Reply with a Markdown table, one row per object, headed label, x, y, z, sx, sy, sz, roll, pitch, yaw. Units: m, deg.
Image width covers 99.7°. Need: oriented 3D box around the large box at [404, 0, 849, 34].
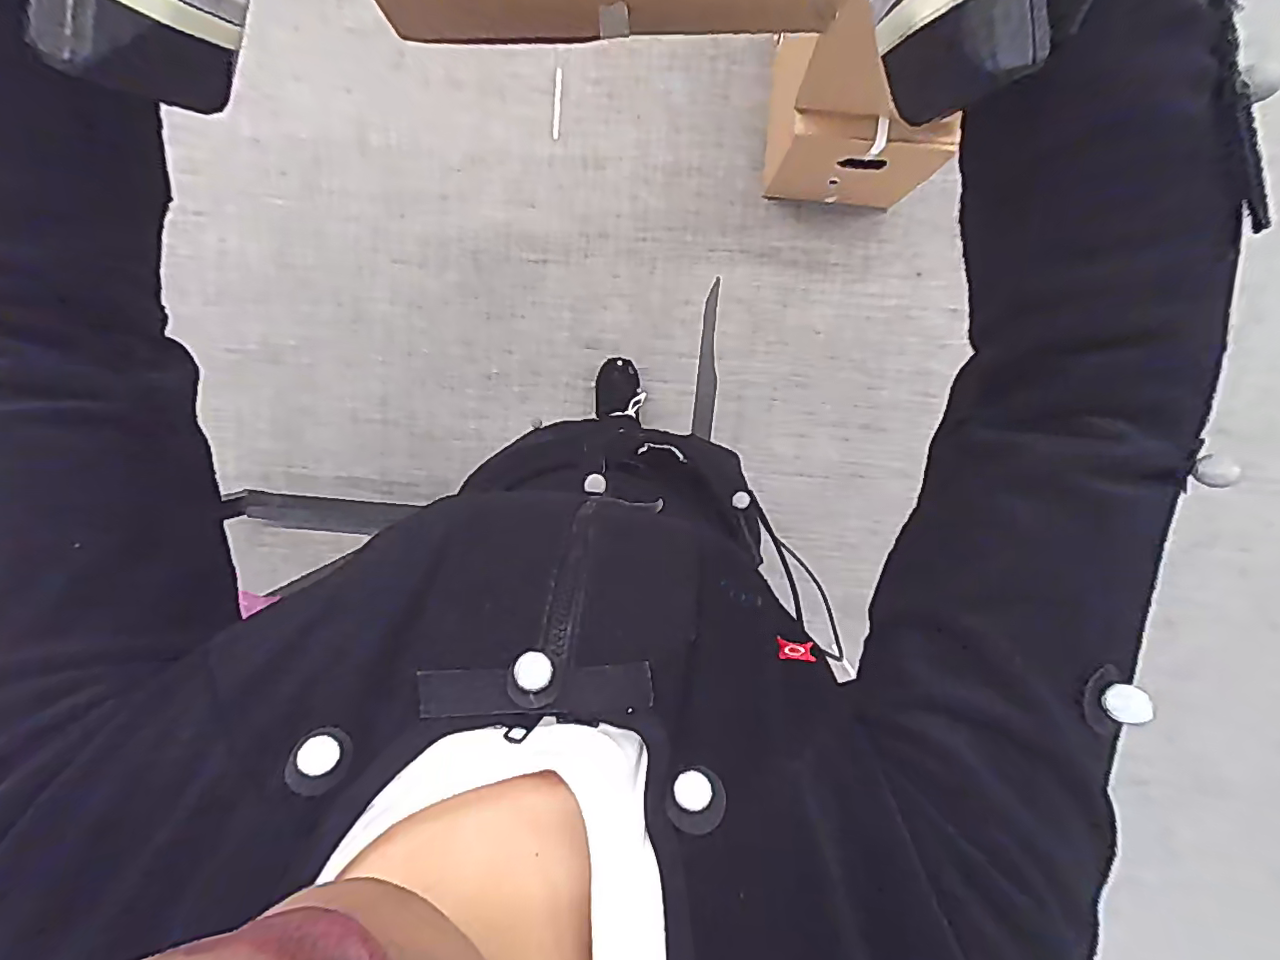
| label | x | y | z | sx | sy | sz | roll | pitch | yaw |
| --- | --- | --- | --- | --- | --- | --- | --- | --- | --- |
| large box | -0.014 | -0.494 | 0.206 | 0.320 | 0.320 | 0.408 | -1 | 98 | 2 |
